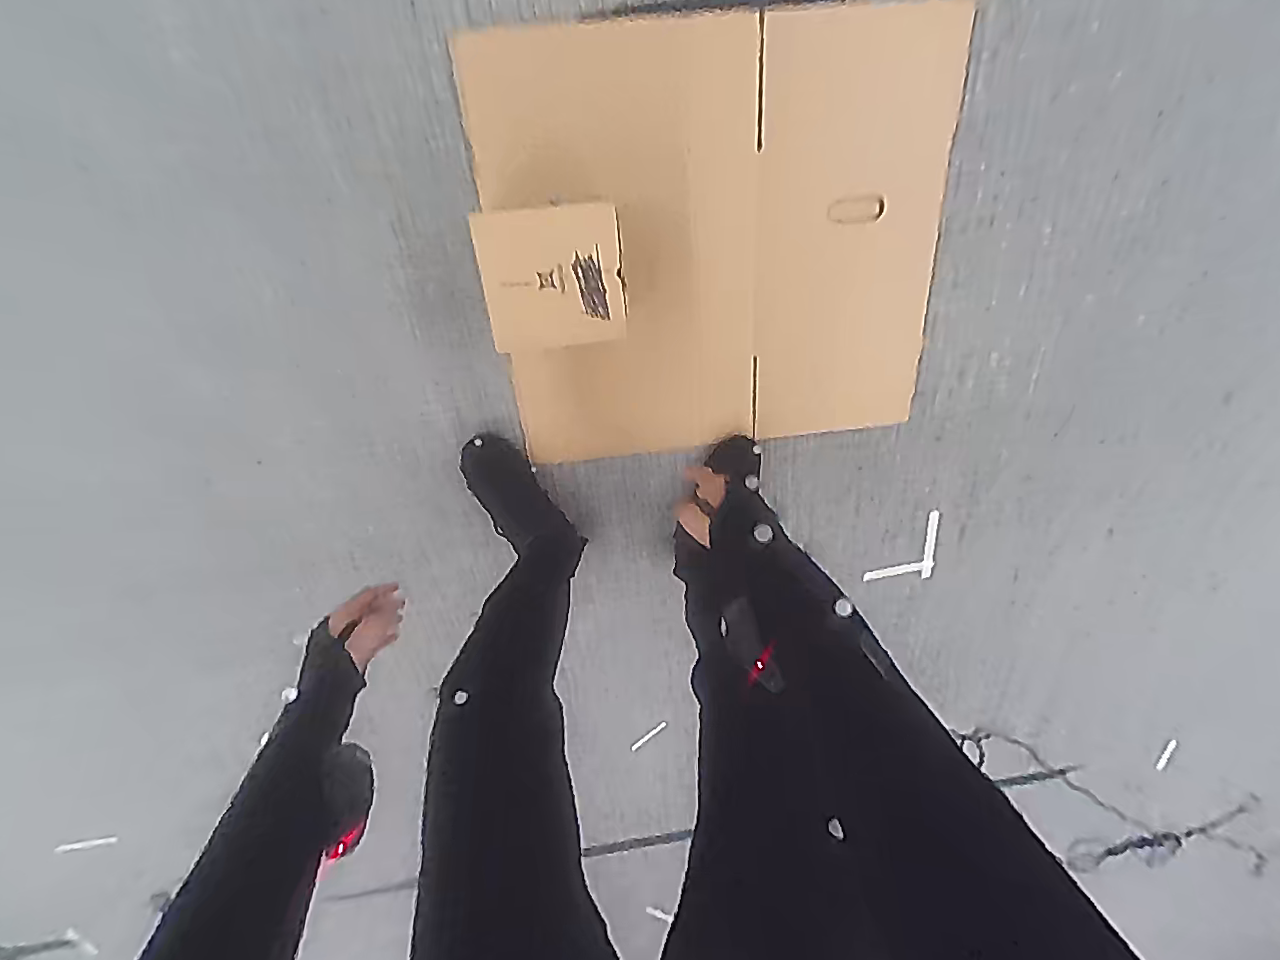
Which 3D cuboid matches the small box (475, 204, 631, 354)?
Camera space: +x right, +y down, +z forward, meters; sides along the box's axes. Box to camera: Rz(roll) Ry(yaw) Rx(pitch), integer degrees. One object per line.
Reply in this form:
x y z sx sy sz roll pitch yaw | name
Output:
-0.112 -0.282 0.746 0.179 0.176 0.168 -6 118 -3 | small box
